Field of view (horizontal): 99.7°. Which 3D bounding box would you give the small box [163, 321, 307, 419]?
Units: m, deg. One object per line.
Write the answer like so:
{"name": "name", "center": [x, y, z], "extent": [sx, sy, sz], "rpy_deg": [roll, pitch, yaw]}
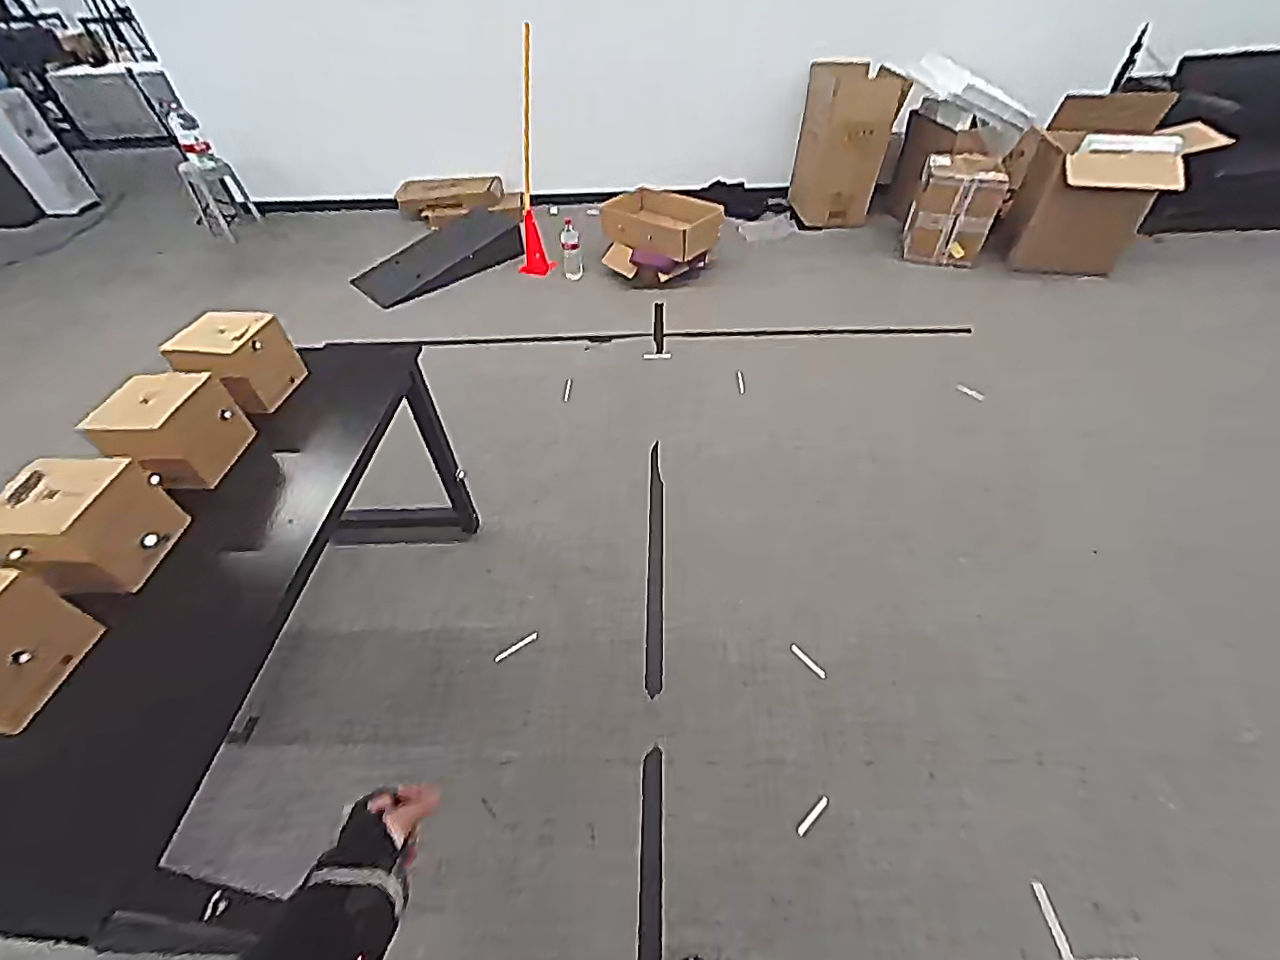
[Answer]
{"name": "small box", "center": [-0.940, -0.258, 1.274], "extent": [0.179, 0.176, 0.168], "rpy_deg": [3, 46, 7]}

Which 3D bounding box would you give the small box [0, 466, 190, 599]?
{"name": "small box", "center": [-0.951, 0.092, 0.932], "extent": [0.179, 0.176, 0.168], "rpy_deg": [0, 46, 2]}

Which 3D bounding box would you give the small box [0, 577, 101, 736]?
{"name": "small box", "center": [-0.960, 0.252, 0.774], "extent": [0.179, 0.176, 0.168], "rpy_deg": [1, 45, 5]}

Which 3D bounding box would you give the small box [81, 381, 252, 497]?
{"name": "small box", "center": [-0.946, -0.084, 1.107], "extent": [0.168, 0.176, 0.179], "rpy_deg": [-2, 46, 3]}
